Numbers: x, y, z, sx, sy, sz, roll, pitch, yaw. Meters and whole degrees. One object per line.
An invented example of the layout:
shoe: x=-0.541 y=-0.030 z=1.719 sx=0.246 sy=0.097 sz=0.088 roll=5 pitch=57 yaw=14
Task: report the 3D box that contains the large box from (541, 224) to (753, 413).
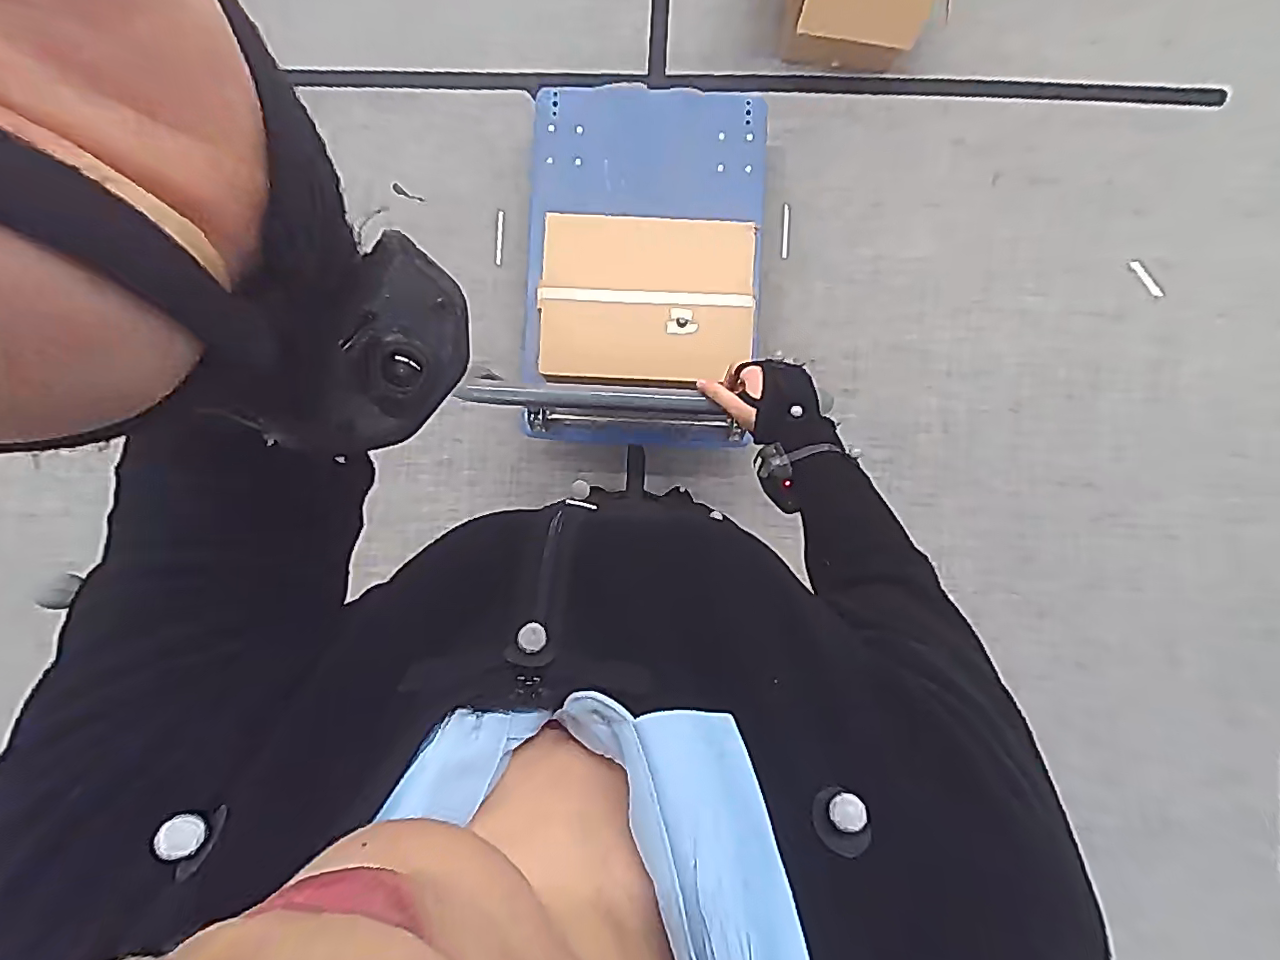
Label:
large box: x=0.009 y=-0.326 z=1.179 sx=0.408 sy=0.320 sz=0.320 roll=2 pitch=89 yaw=-1
